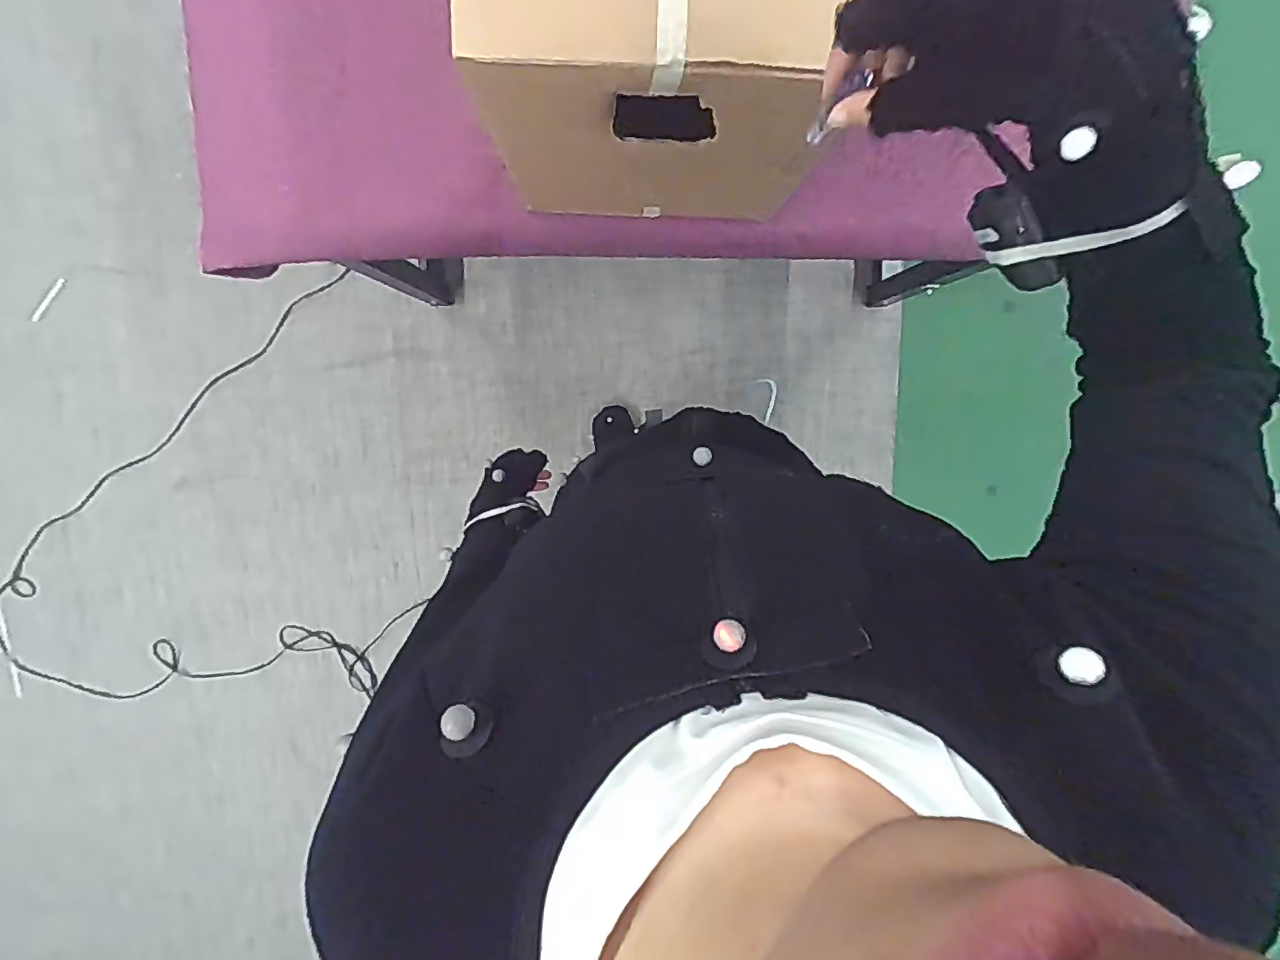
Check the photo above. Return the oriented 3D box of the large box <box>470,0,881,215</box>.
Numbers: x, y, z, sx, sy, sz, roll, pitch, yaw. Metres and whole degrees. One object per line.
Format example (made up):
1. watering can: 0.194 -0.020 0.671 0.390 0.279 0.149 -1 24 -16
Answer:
1. large box: 0.026 -0.524 0.524 0.320 0.320 0.408 2 99 -1
